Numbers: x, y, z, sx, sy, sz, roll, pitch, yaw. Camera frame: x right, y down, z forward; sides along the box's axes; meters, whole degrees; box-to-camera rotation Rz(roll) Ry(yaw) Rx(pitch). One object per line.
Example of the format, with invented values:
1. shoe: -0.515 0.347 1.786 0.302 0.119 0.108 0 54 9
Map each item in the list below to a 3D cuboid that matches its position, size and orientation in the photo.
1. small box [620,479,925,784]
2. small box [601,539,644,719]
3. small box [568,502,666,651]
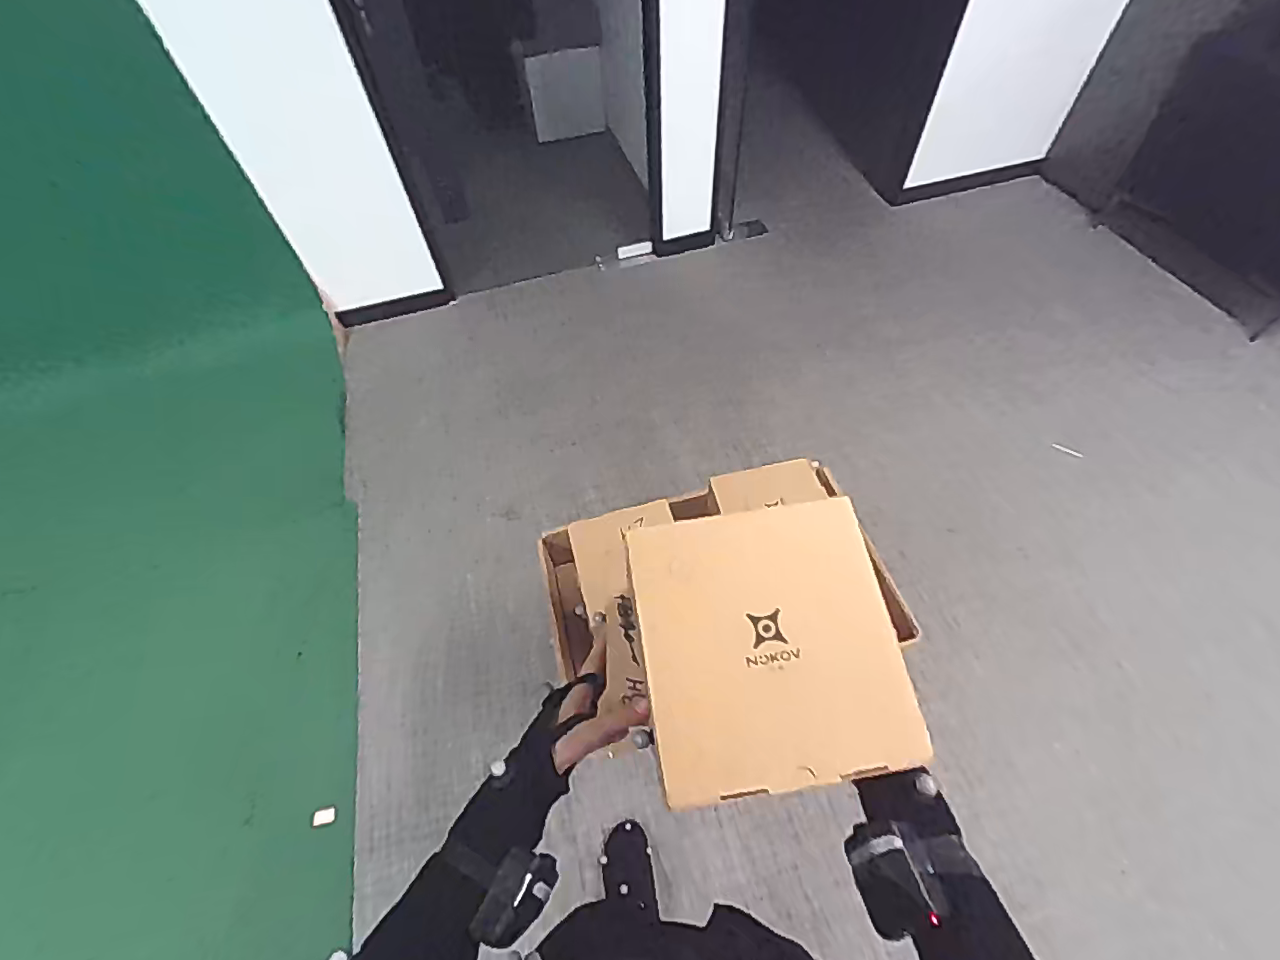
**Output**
1. small box: 0.077 0.121 0.424 0.168 0.176 0.179 -9 67 -3
2. small box: 0.050 0.166 0.584 0.179 0.176 0.168 -2 64 0
3. small box: -0.010 0.166 0.873 0.168 0.176 0.179 -14 55 -7
